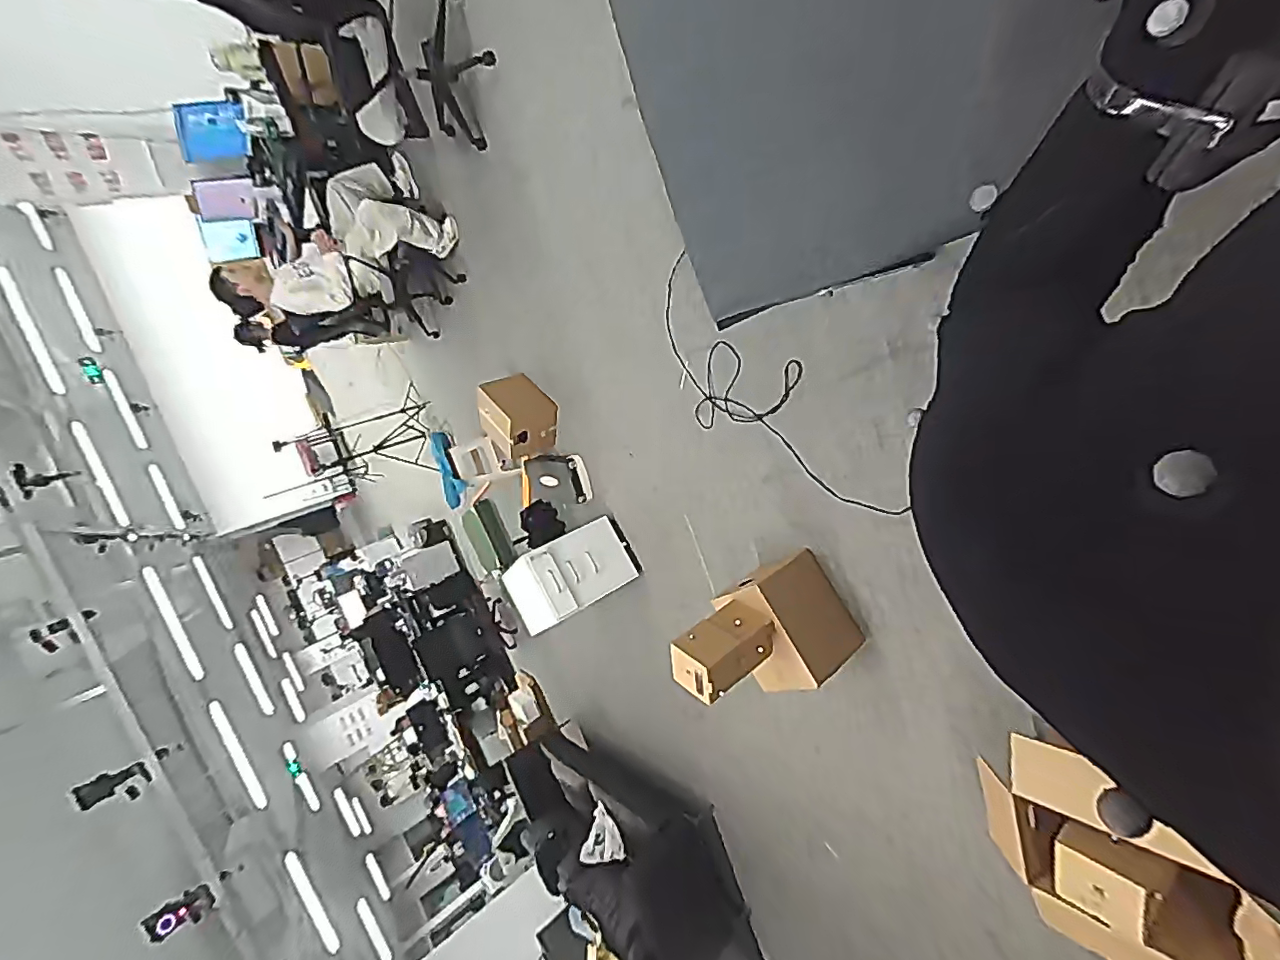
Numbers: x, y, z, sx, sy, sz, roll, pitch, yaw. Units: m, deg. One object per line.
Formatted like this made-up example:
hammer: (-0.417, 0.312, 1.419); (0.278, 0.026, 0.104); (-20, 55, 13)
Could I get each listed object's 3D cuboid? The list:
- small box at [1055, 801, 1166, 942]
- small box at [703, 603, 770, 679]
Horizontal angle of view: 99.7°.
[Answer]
small box: (1.124, 0.923, 1.296); (0.168, 0.176, 0.179); (11, 119, 55)
small box: (0.348, 0.567, 1.935); (0.179, 0.176, 0.168); (21, 126, 44)
